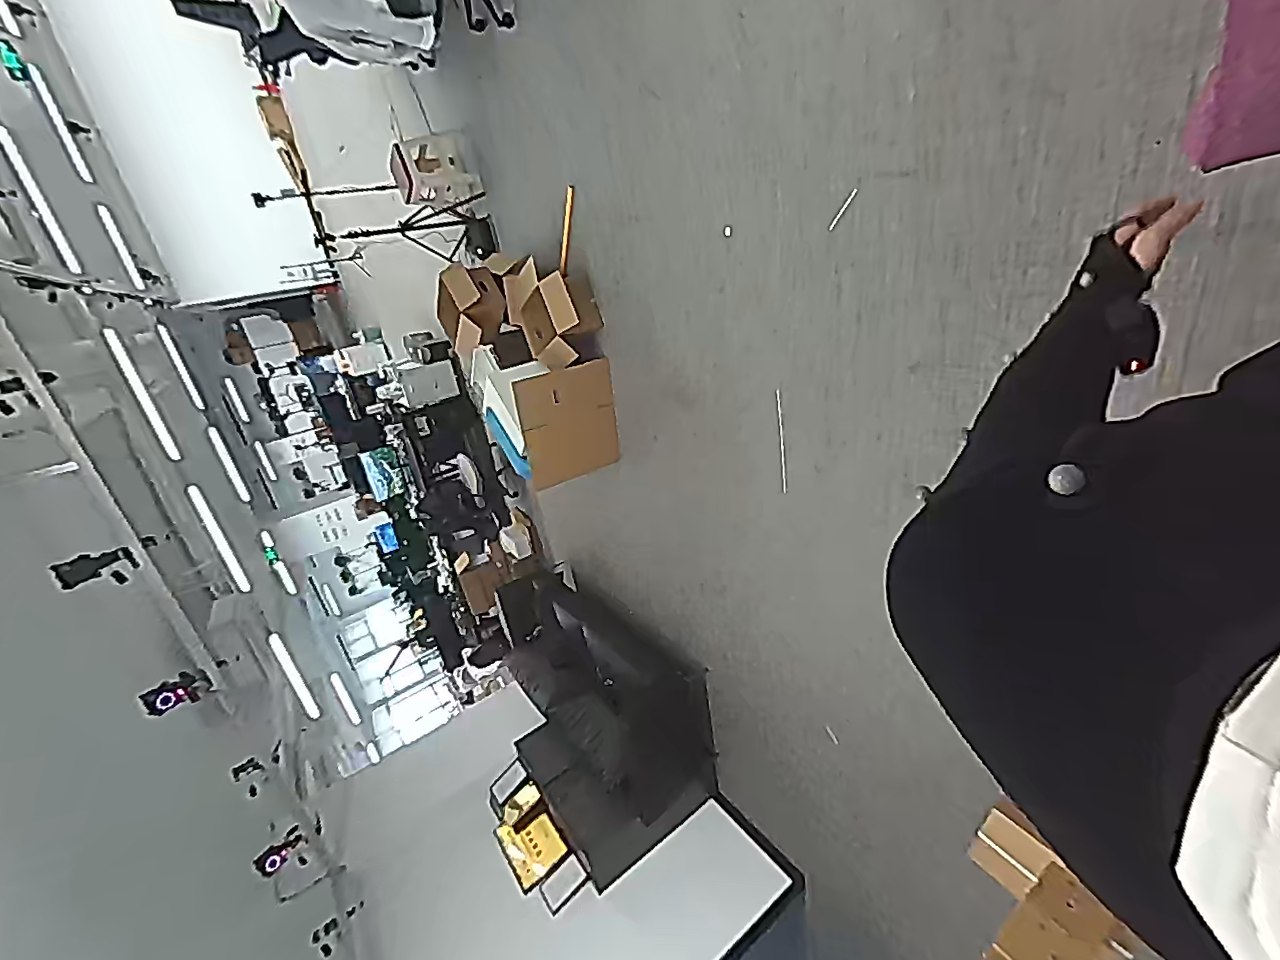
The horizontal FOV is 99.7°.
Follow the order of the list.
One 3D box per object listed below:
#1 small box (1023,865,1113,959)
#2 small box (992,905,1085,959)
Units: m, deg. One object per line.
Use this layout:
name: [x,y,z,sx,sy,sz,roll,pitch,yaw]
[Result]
small box: [1.182,1.241,1.517,0.168,0.176,0.179,30,134,47]
small box: [1.050,1.295,1.439,0.168,0.176,0.179,29,134,47]
